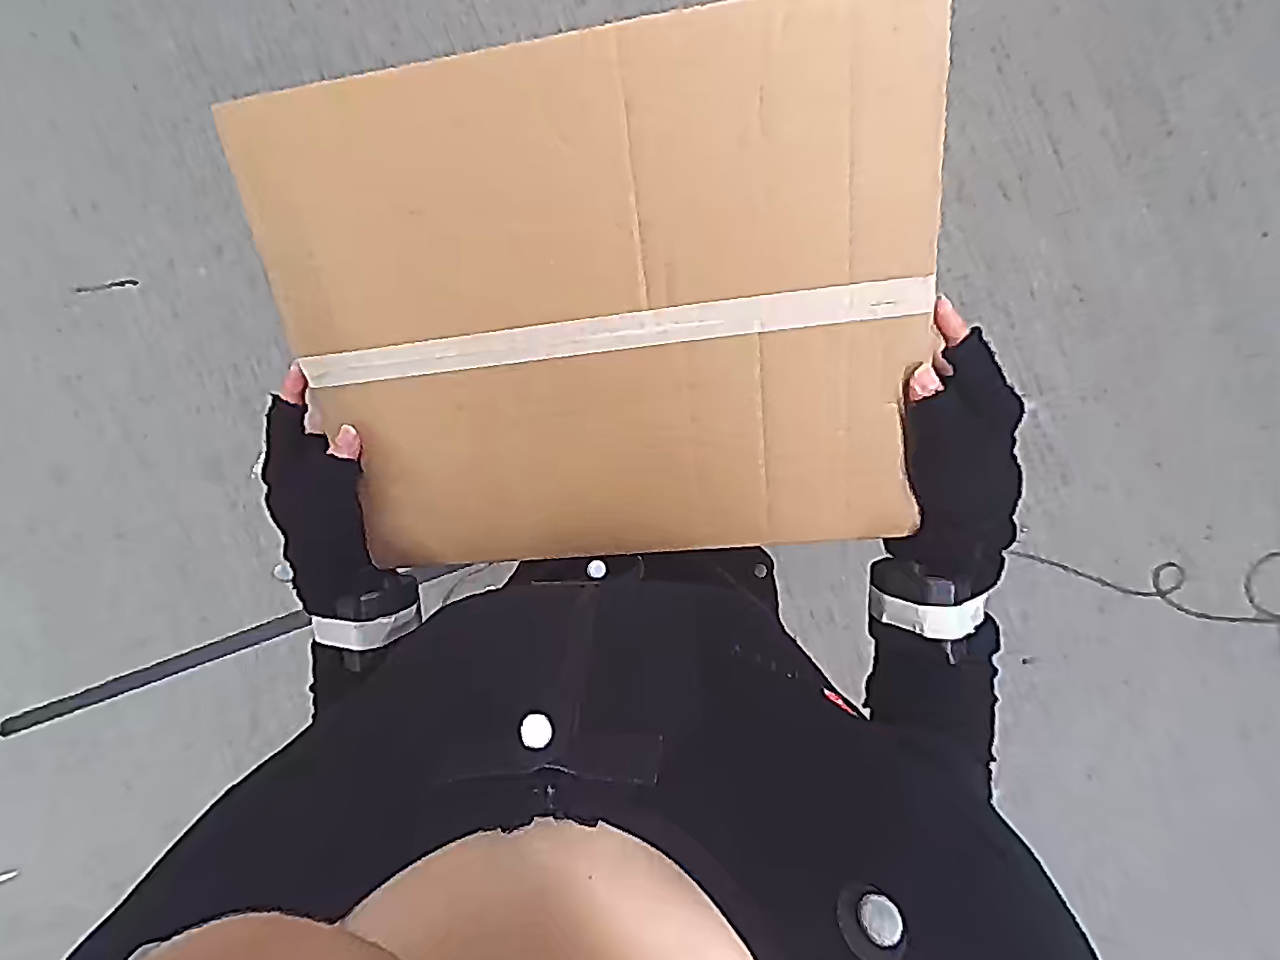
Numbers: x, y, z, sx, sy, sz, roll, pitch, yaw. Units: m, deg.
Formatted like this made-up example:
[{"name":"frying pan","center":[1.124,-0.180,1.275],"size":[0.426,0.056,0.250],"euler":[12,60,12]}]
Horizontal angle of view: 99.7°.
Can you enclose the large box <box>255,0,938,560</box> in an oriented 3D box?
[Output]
[{"name":"large box","center":[-0.010,-0.148,0.491],"size":[0.408,0.320,0.320],"euler":[-5,112,8]}]
